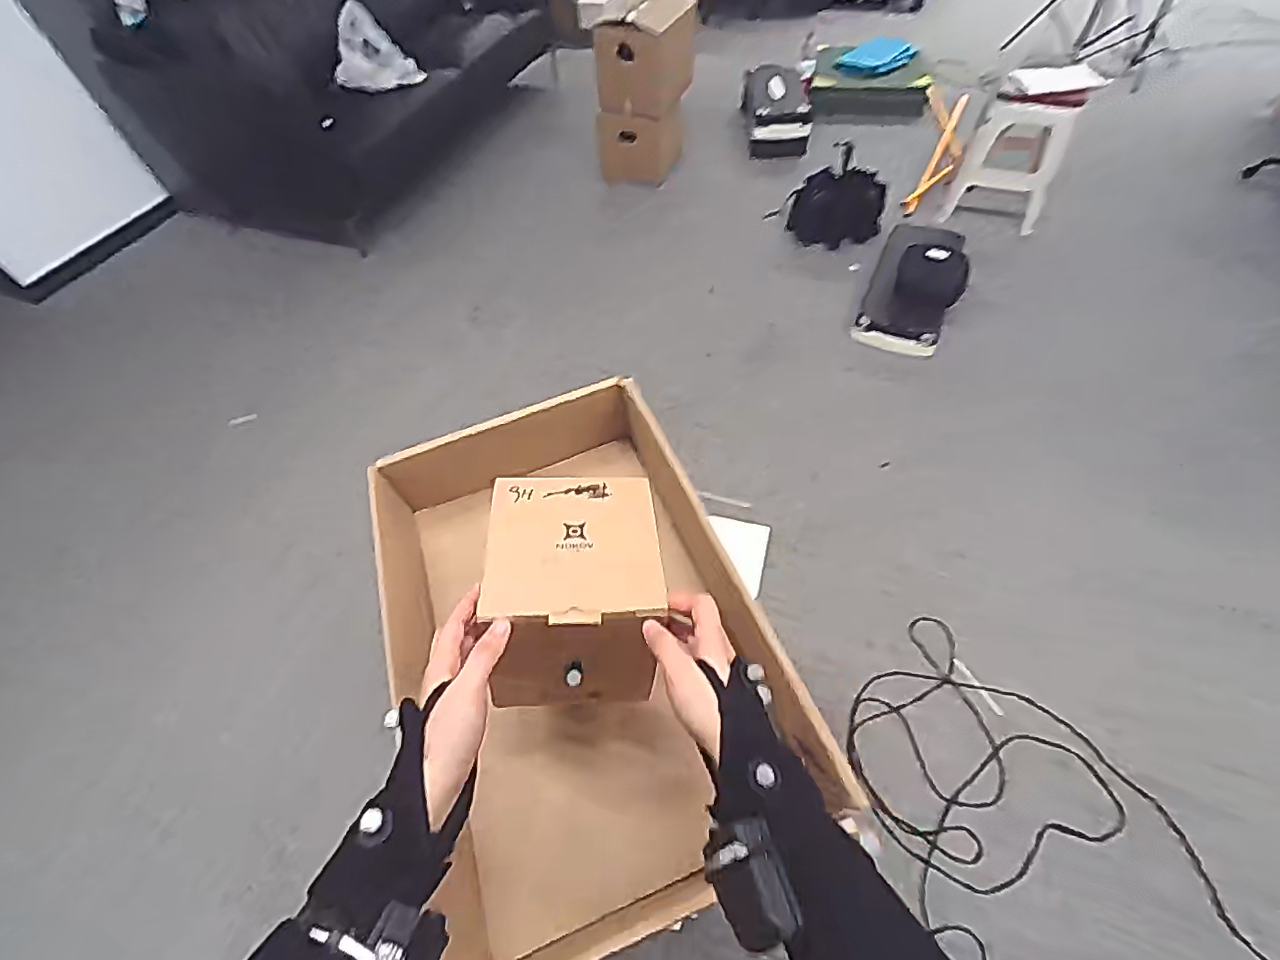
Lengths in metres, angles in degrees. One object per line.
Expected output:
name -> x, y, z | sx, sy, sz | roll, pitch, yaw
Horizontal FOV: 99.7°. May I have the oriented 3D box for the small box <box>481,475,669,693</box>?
small box -> -0.064, 0.113, 0.577 | 0.168, 0.176, 0.179 | 1, 44, -6
